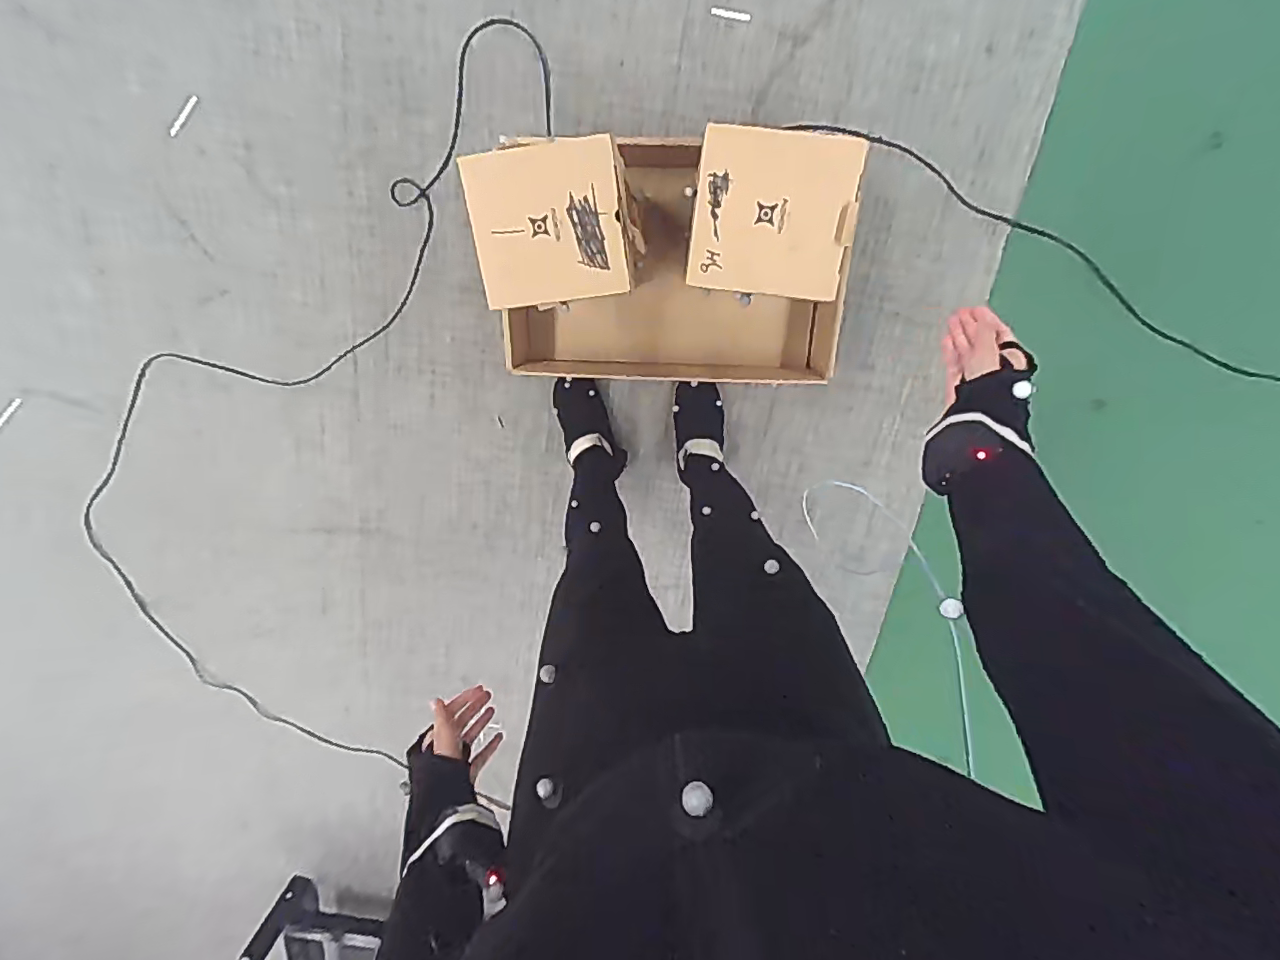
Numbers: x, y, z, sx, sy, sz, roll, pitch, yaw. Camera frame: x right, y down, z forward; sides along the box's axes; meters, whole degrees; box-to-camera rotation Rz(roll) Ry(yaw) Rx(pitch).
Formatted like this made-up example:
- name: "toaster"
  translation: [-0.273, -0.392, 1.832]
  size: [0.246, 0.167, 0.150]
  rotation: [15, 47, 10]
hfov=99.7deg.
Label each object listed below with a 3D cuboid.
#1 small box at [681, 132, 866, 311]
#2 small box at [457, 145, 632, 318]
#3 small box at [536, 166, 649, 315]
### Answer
- name: "small box"
  translation: [0.148, -0.308, 0.672]
  size: [0.179, 0.176, 0.168]
  rotation: [7, 109, 1]
- name: "small box"
  translation: [-0.105, -0.308, 0.693]
  size: [0.179, 0.176, 0.168]
  rotation: [-6, 110, 5]
- name: "small box"
  translation: [-0.087, -0.366, 0.845]
  size: [0.179, 0.176, 0.168]
  rotation: [-13, 109, 7]
